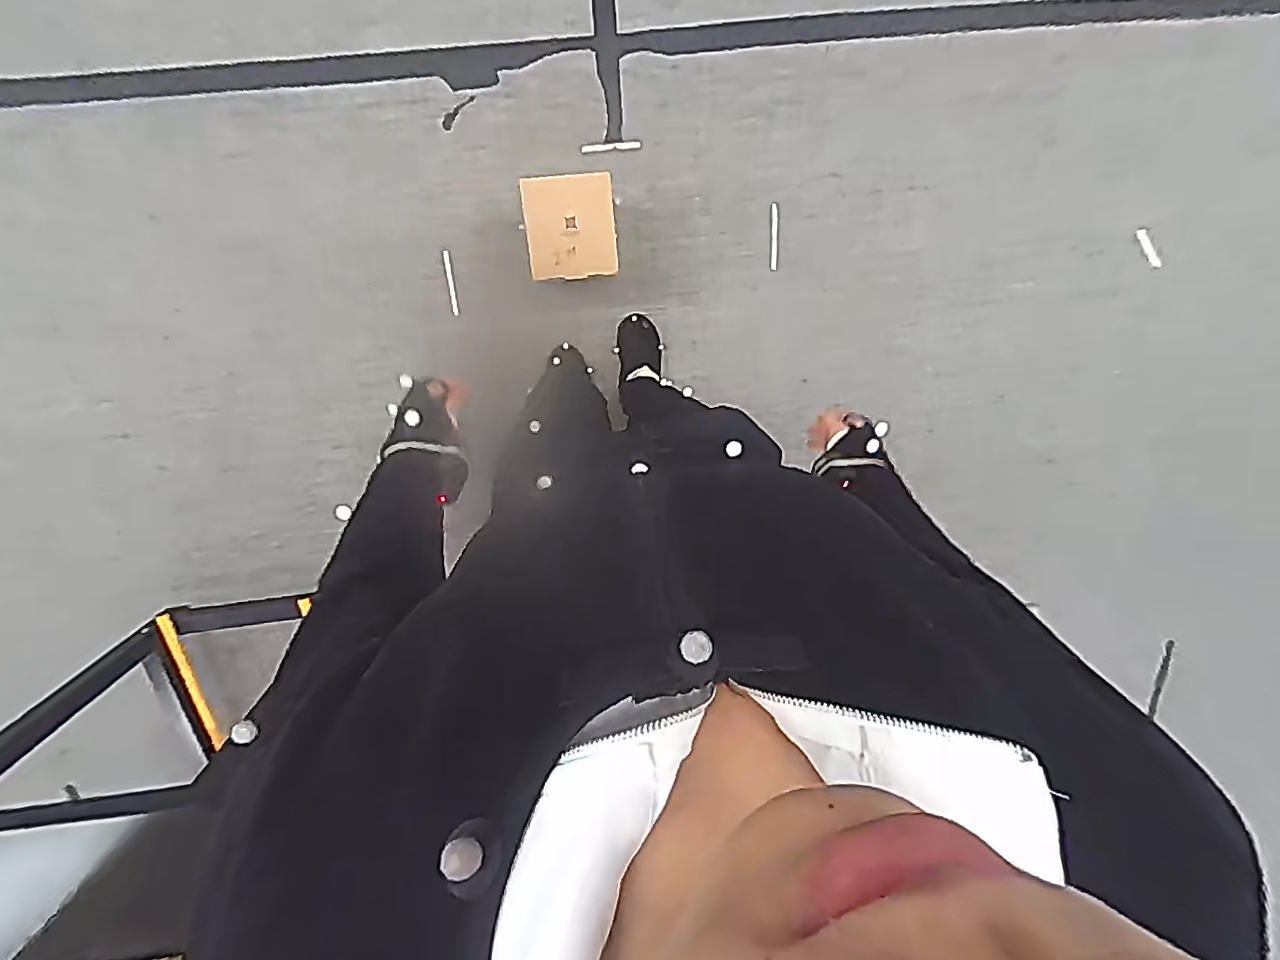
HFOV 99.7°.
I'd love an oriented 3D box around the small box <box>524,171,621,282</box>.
[{"bbox_3d":[-0.129,-0.489,1.064,0.168,0.176,0.179,-6,110,-3],"label":"small box"}]
